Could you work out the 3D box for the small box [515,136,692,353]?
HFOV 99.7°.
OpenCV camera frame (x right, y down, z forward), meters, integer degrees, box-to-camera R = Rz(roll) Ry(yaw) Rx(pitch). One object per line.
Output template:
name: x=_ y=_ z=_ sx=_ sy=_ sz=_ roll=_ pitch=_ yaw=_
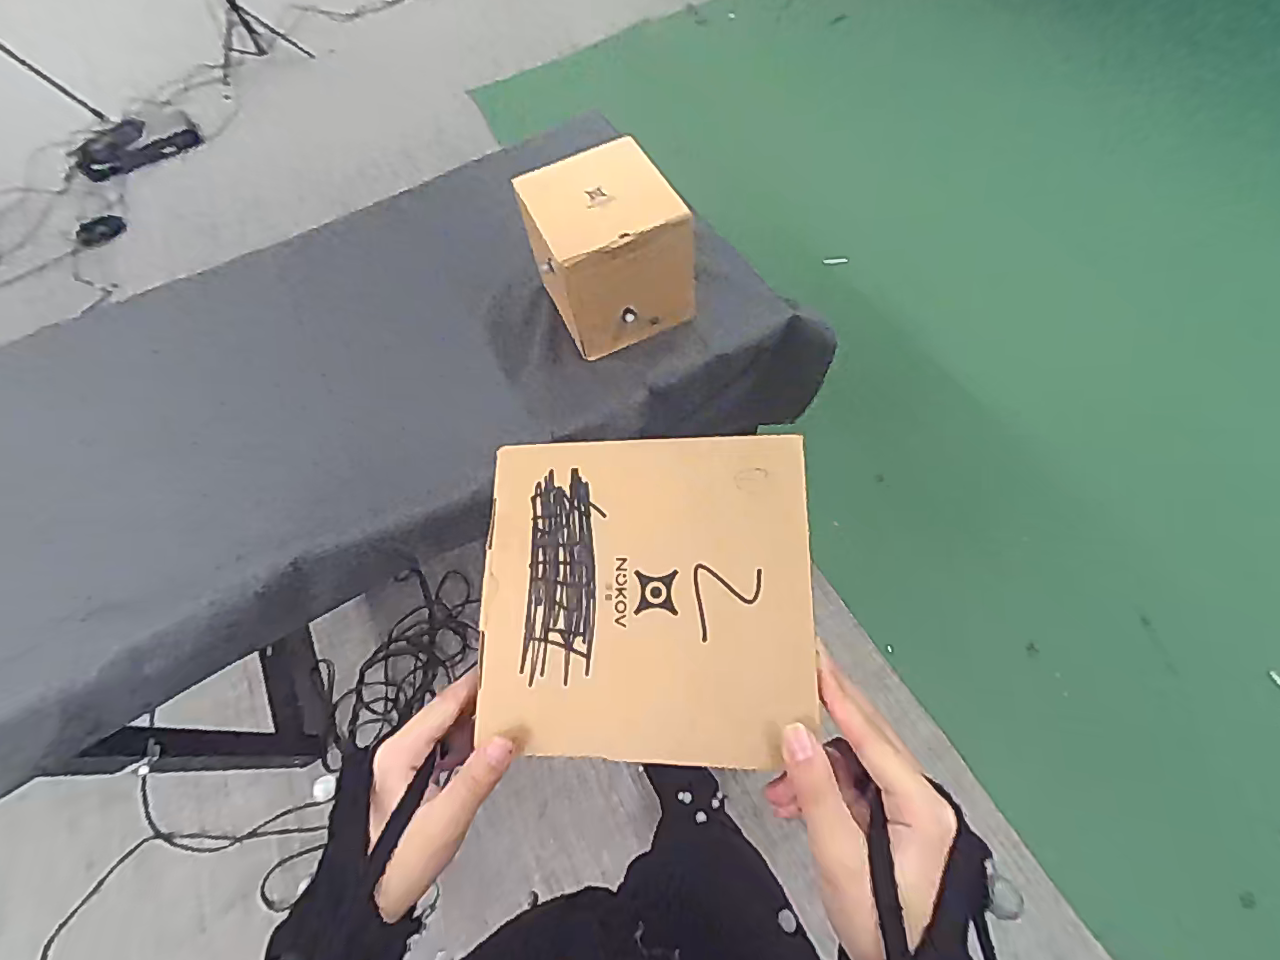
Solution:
small box: x=-0.043 y=-0.304 z=0.714 sx=0.168 sy=0.176 sz=0.179 roll=-25 pitch=63 yaw=-7
